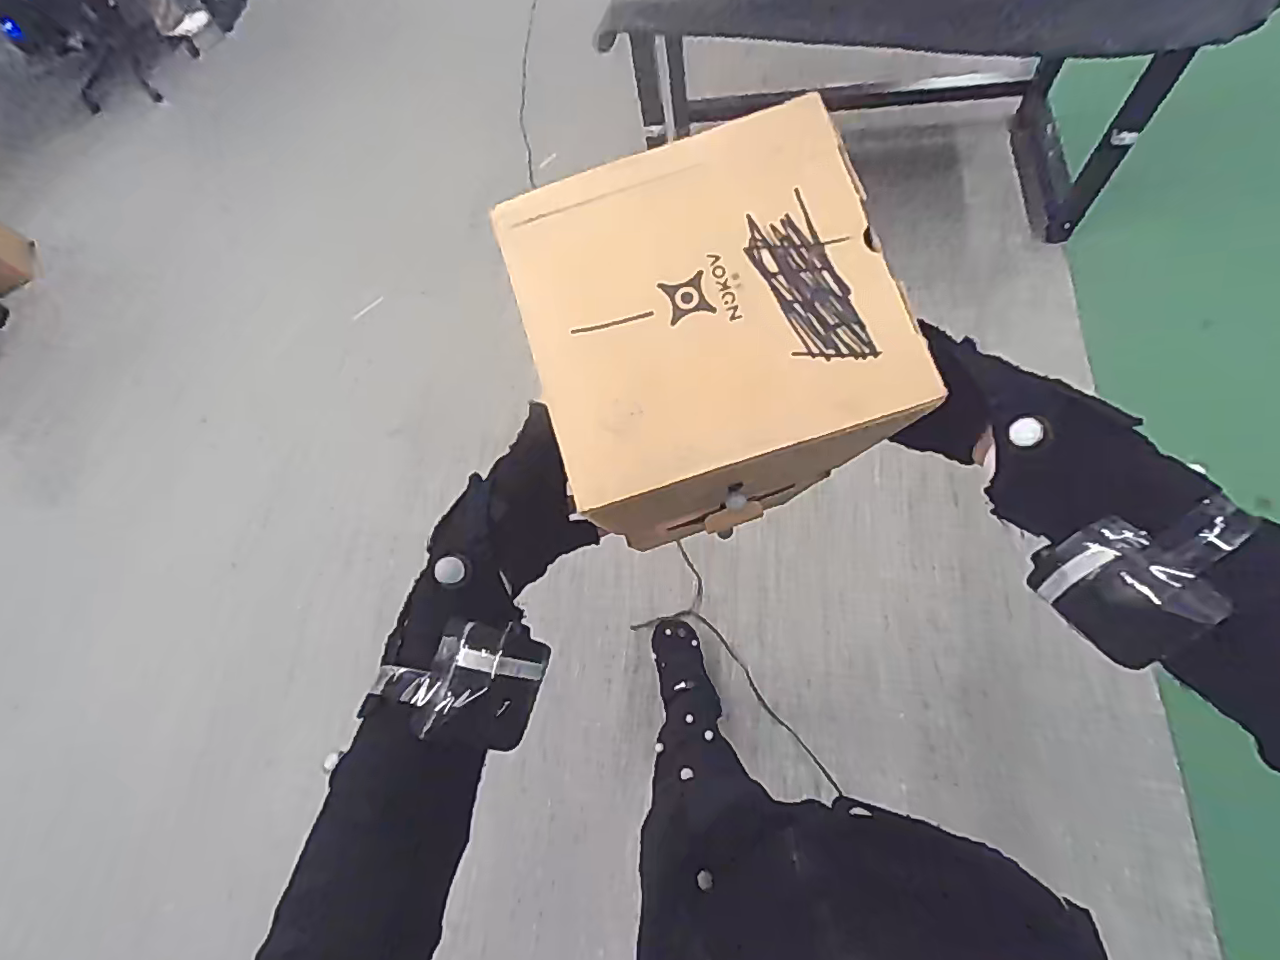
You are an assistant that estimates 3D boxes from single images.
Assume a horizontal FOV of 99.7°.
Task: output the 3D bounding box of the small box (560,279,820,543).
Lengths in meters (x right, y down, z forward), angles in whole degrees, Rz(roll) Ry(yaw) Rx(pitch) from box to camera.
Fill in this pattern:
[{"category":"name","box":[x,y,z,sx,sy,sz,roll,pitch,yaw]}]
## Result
[{"category":"small box","box":[0.042,-0.047,0.504,0.168,0.176,0.179,-18,80,0]}]
